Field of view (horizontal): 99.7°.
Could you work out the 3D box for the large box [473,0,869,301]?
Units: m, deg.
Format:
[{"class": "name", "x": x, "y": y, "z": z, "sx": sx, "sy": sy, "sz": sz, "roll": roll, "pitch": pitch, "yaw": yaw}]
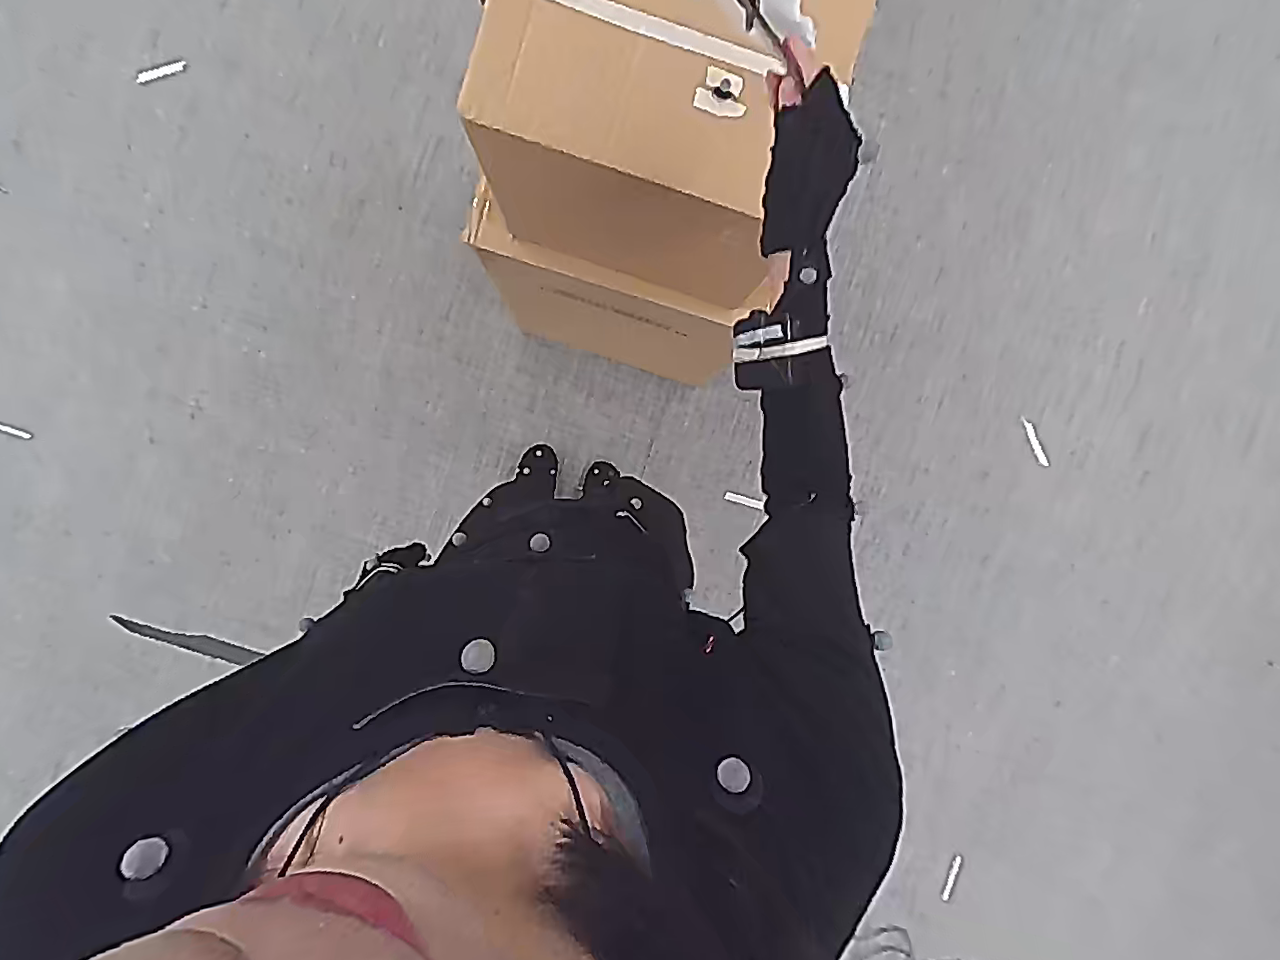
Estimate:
[{"class": "large box", "x": 0.029, "y": -0.495, "z": 0.759, "sx": 0.408, "sy": 0.320, "sz": 0.320, "roll": 16, "pitch": 91, "yaw": -5}]
